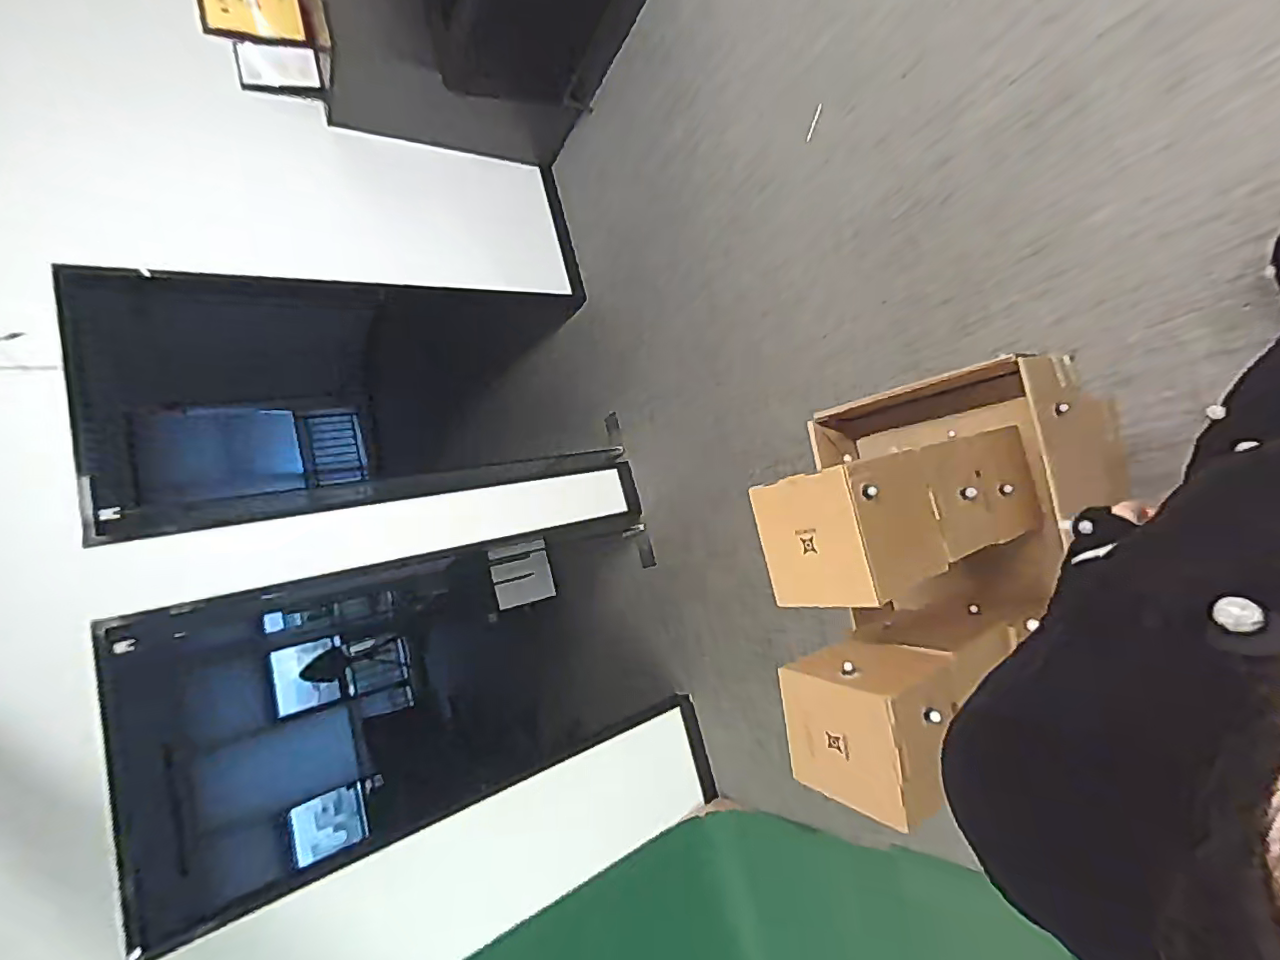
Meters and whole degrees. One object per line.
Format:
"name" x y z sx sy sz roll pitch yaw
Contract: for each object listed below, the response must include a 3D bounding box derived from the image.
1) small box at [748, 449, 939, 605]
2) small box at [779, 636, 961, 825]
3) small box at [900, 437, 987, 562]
"small box" 0.285 0.066 0.758 0.168 0.176 0.179 -20 82 55
"small box" 0.327 0.332 0.764 0.179 0.176 0.168 -7 91 56
"small box" 0.415 0.036 0.854 0.179 0.176 0.168 -20 82 54
